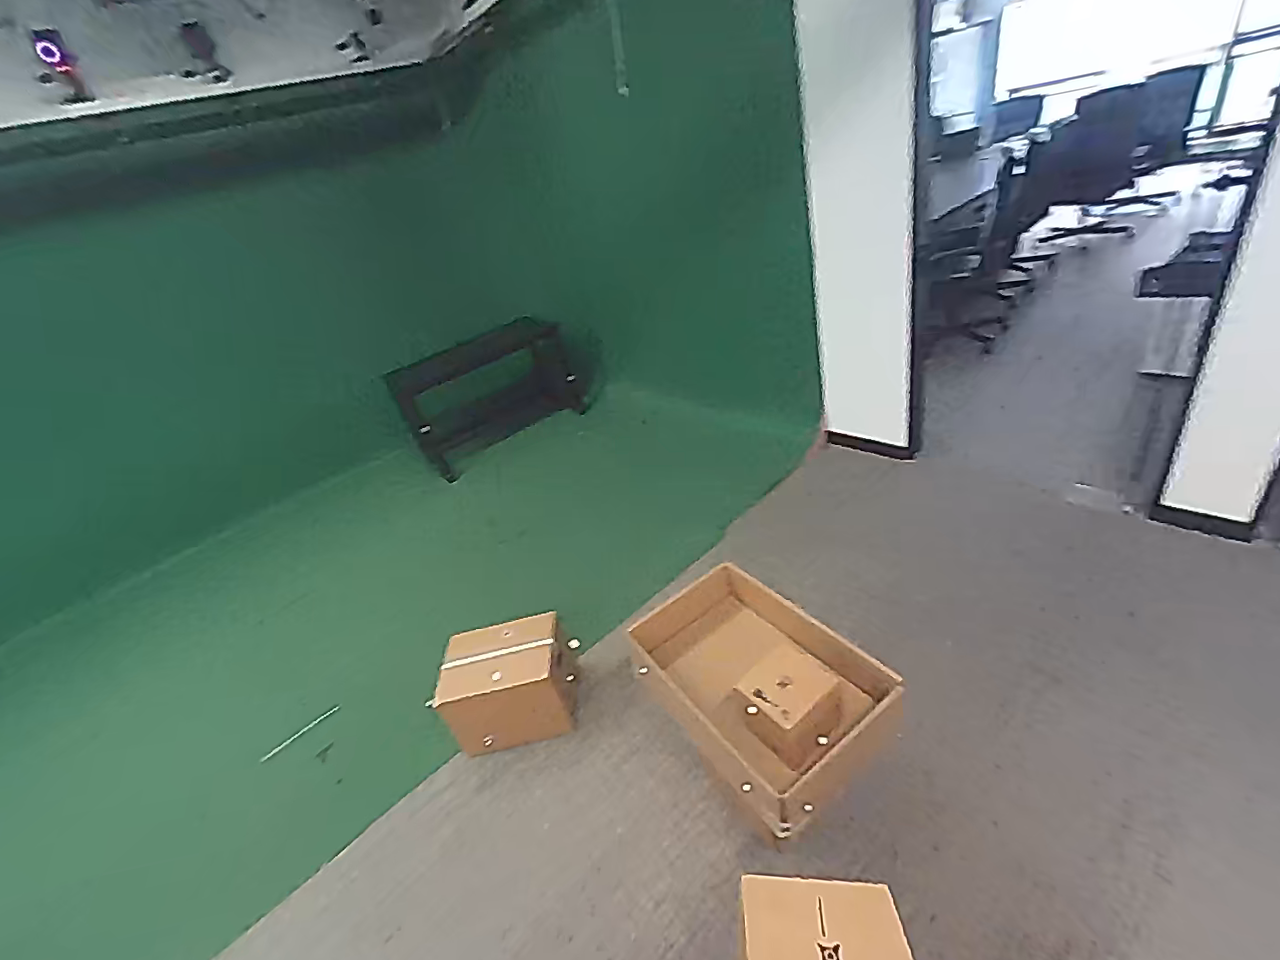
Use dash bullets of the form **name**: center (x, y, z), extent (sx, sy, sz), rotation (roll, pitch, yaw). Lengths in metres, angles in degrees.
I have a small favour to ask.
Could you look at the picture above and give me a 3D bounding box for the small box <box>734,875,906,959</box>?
- **small box**: center (0.186, 0.556, 0.556), extent (0.168, 0.176, 0.179), rotation (0, 17, 6)
